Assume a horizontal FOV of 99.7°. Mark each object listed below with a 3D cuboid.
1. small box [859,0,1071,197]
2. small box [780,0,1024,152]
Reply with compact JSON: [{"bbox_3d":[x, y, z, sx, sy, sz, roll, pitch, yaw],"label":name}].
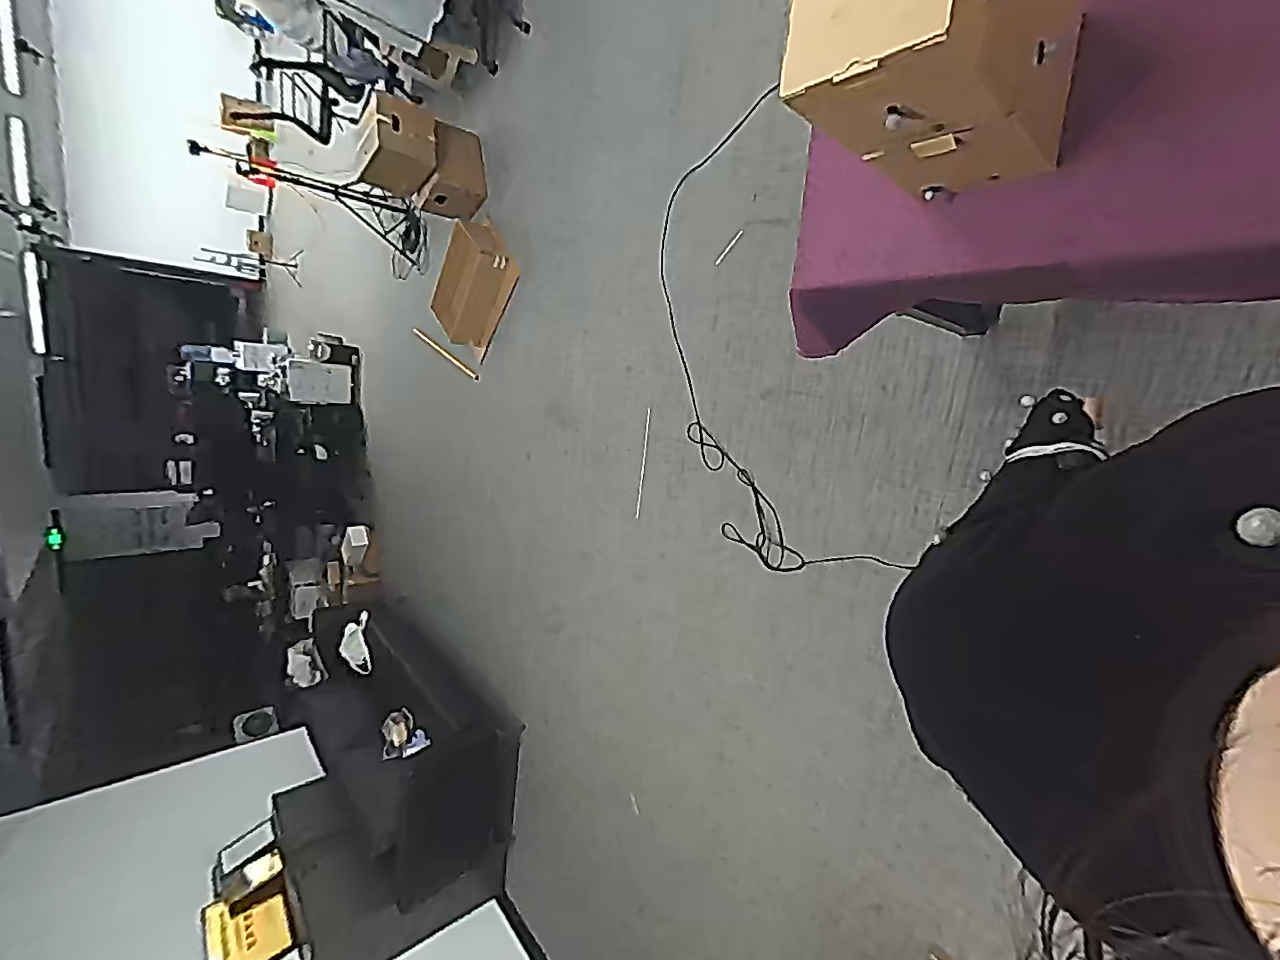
[{"bbox_3d":[0.391,-0.464,0.652,0.168,0.176,0.179,13,101,47],"label":"small box"},{"bbox_3d":[0.266,-0.459,0.546,0.168,0.176,0.179,16,105,46],"label":"small box"}]
